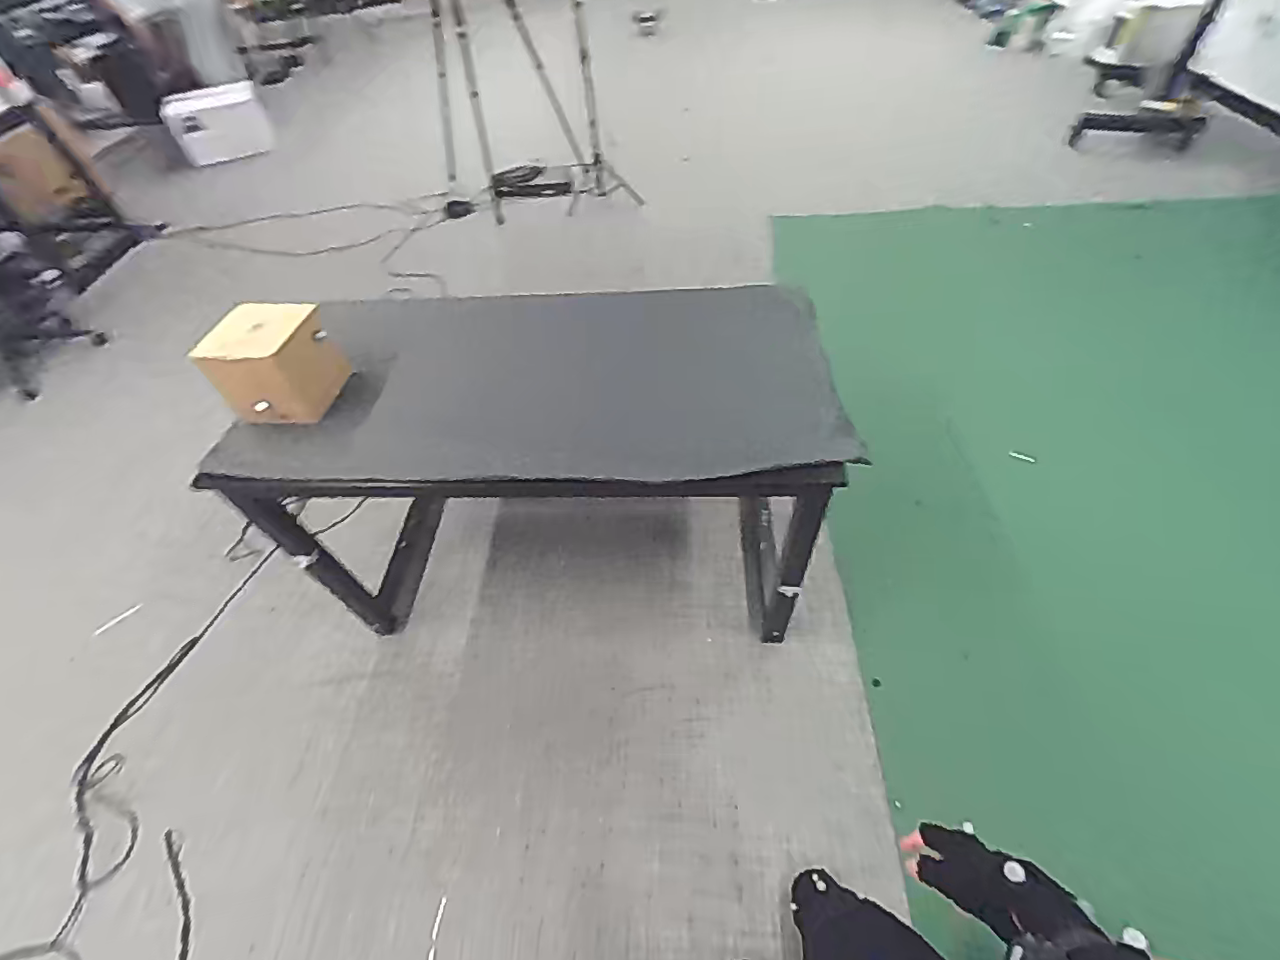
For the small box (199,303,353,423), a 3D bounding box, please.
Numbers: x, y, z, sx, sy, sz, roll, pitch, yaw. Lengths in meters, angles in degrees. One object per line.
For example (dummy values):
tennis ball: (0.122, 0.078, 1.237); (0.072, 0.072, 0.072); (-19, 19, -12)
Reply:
small box: (-0.718, -0.238, 1.096); (0.168, 0.176, 0.179); (2, 50, 6)
